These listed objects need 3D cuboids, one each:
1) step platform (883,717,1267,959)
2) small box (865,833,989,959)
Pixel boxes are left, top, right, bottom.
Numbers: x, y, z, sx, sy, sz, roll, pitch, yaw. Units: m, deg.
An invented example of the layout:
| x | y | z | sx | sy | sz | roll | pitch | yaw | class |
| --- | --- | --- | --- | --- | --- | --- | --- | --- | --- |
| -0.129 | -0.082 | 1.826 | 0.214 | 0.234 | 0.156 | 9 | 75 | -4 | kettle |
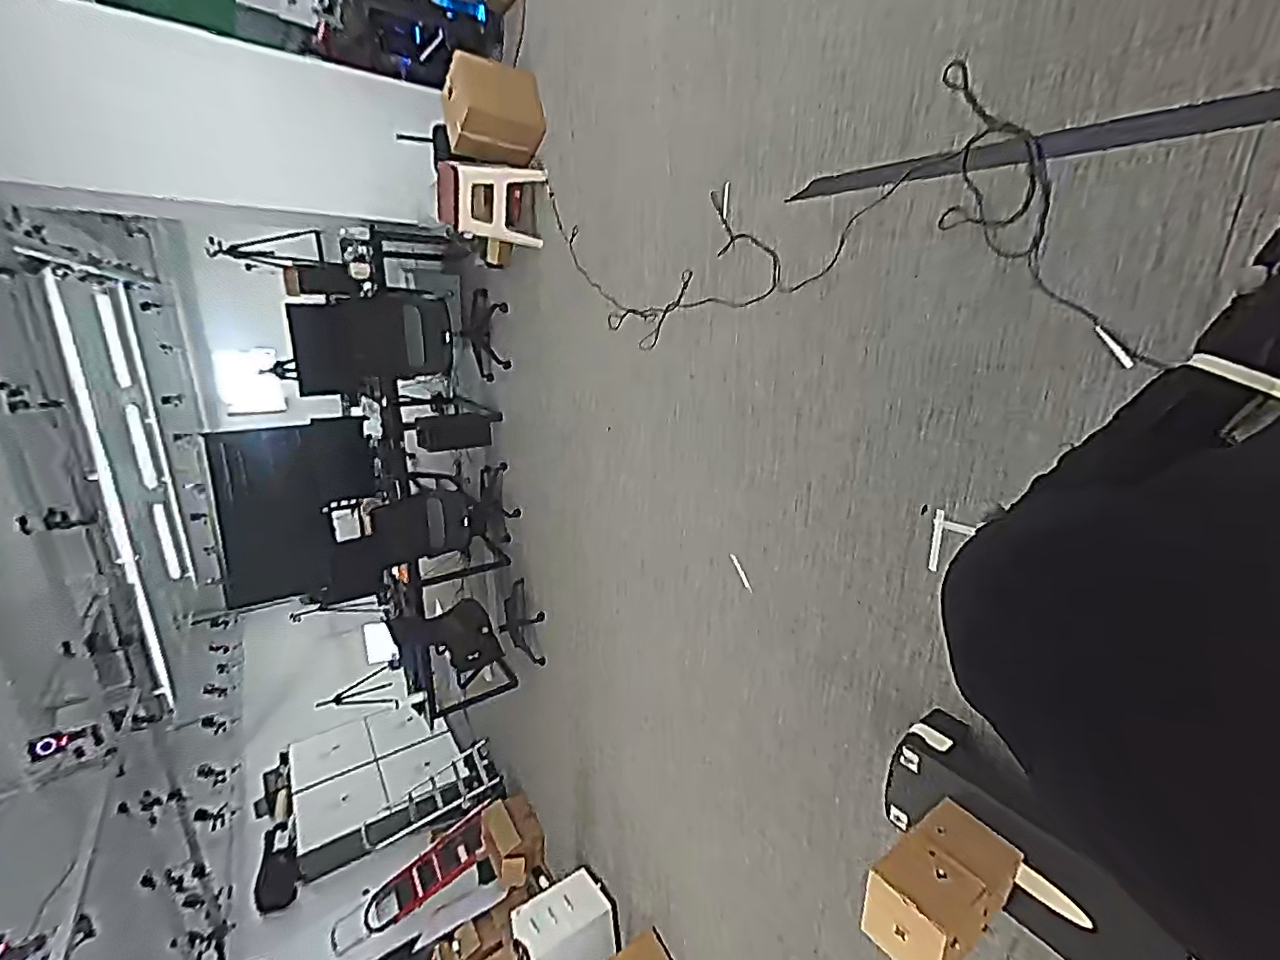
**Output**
| x | y | z | sx | sy | sz | roll | pitch | yaw | class |
| --- | --- | --- | --- | --- | --- | --- | --- | --- | --- |
| 0.928 | 0.887 | 1.264 | 0.684 | 0.204 | 0.286 | 23 | 118 | 51 | step platform |
| 0.604 | 0.906 | 1.142 | 0.168 | 0.176 | 0.179 | 21 | 115 | 53 | small box |
